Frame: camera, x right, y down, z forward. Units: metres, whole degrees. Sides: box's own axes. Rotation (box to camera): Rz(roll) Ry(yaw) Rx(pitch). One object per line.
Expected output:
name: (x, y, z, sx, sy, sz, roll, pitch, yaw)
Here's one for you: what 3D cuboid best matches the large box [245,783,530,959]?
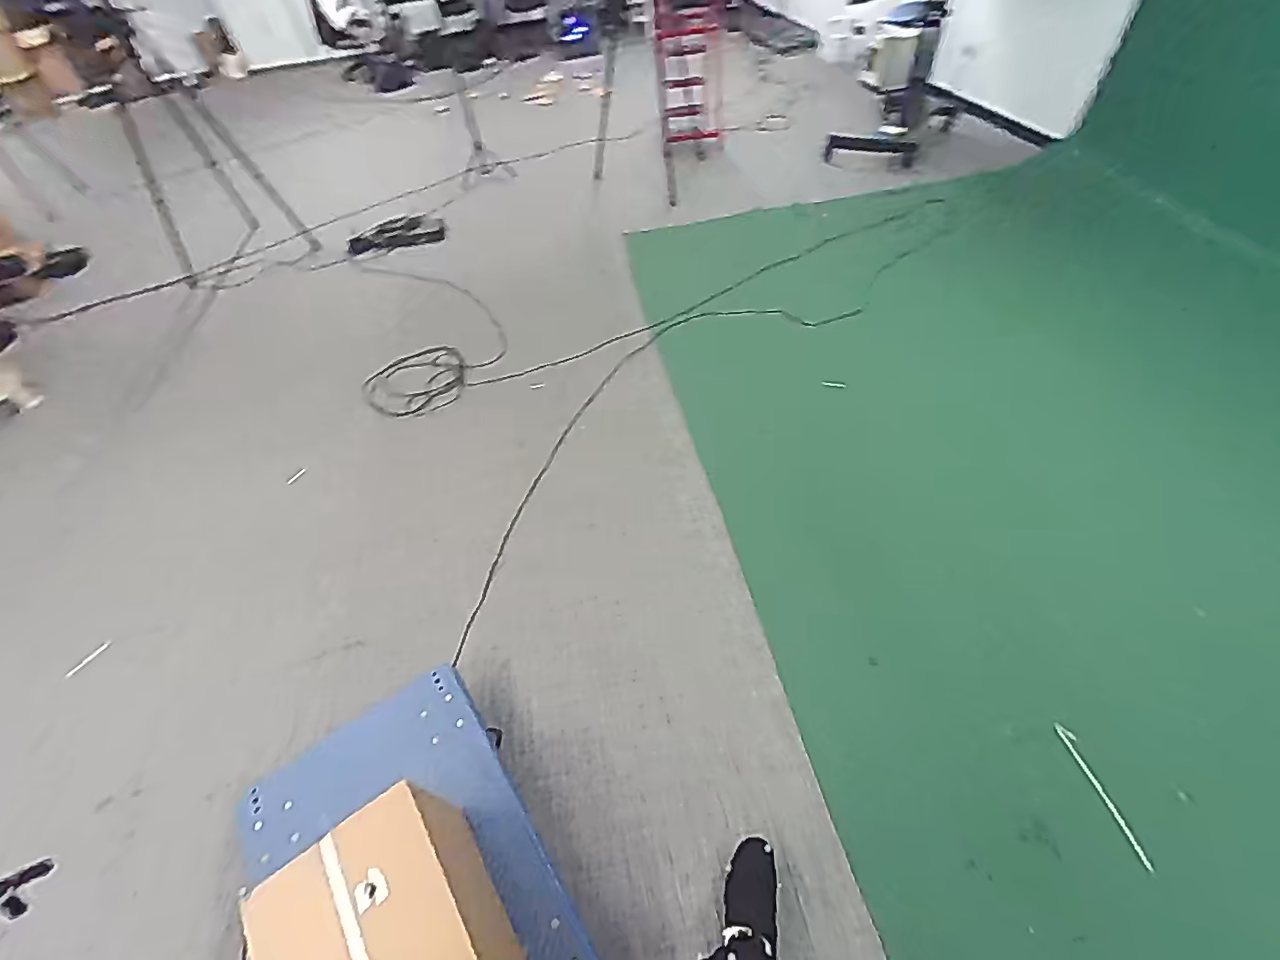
large box: (-0.436, 0.866, 0.994, 0.320, 0.320, 0.408, -32, 52, -19)
